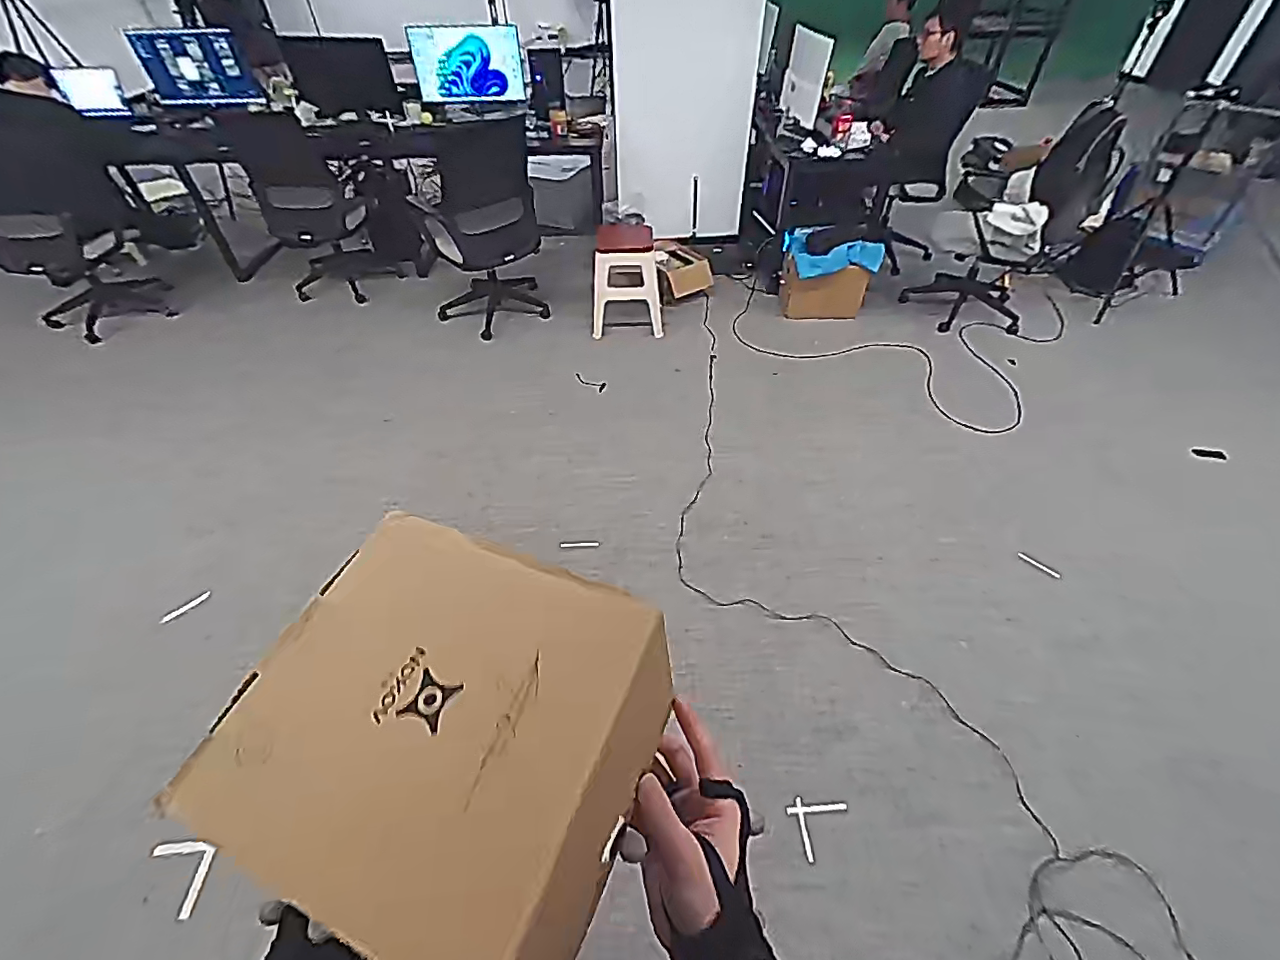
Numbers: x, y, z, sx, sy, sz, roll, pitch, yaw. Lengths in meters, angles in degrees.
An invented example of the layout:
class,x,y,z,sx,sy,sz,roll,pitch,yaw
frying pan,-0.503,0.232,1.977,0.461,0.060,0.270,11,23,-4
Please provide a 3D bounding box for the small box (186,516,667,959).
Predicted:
class,x,y,z,sx,sy,sz,roll,pitch,yaw
small box,-0.093,0.152,0.326,0.179,0.176,0.168,15,55,17
